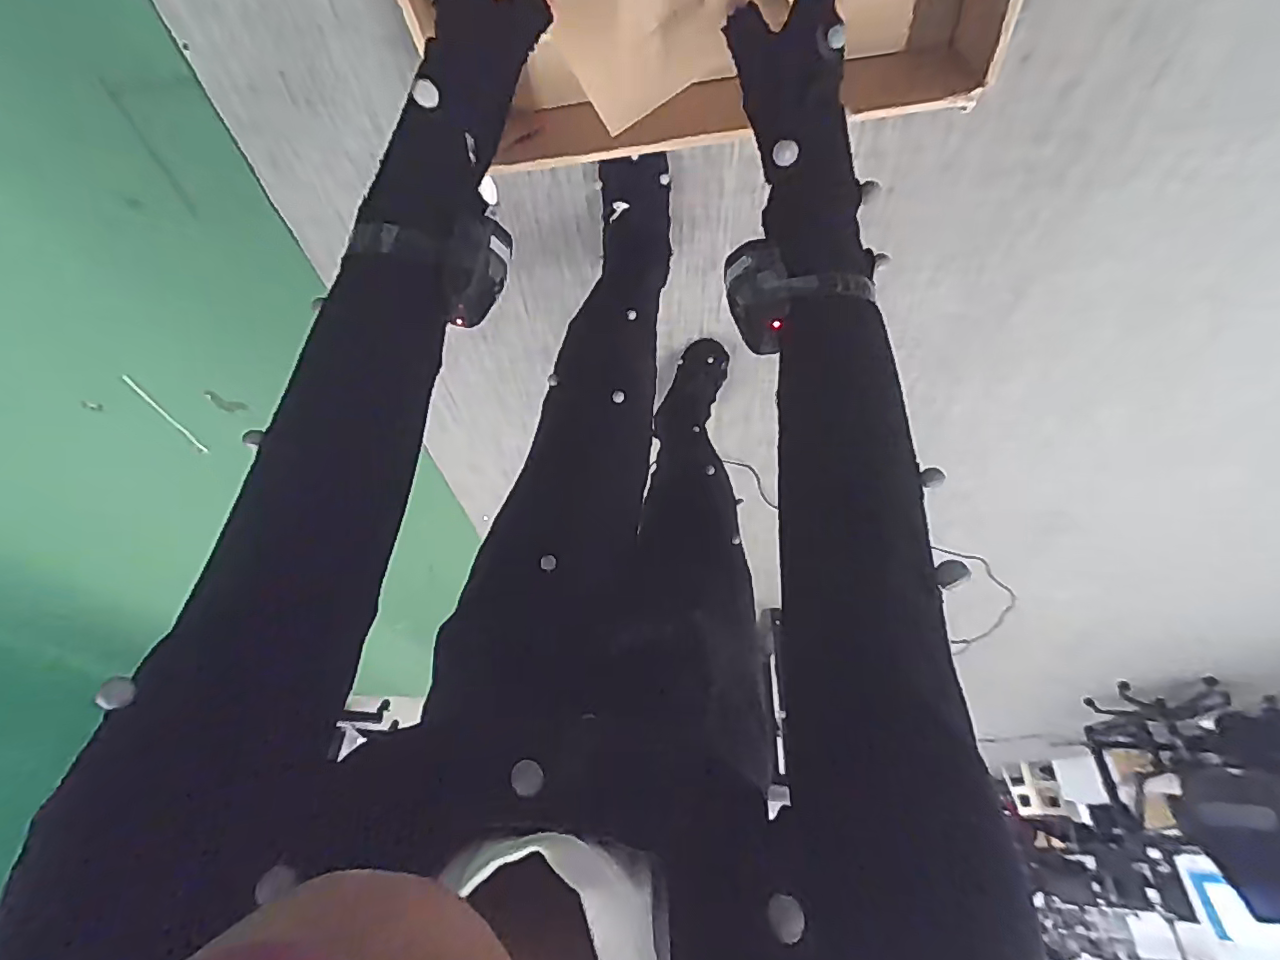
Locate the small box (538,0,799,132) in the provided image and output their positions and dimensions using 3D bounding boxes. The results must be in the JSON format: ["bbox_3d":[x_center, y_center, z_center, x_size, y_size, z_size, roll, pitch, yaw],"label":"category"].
[{"bbox_3d":[0.007,-0.433,0.422,0.168,0.176,0.179,-18,142,29],"label":"small box"}]
